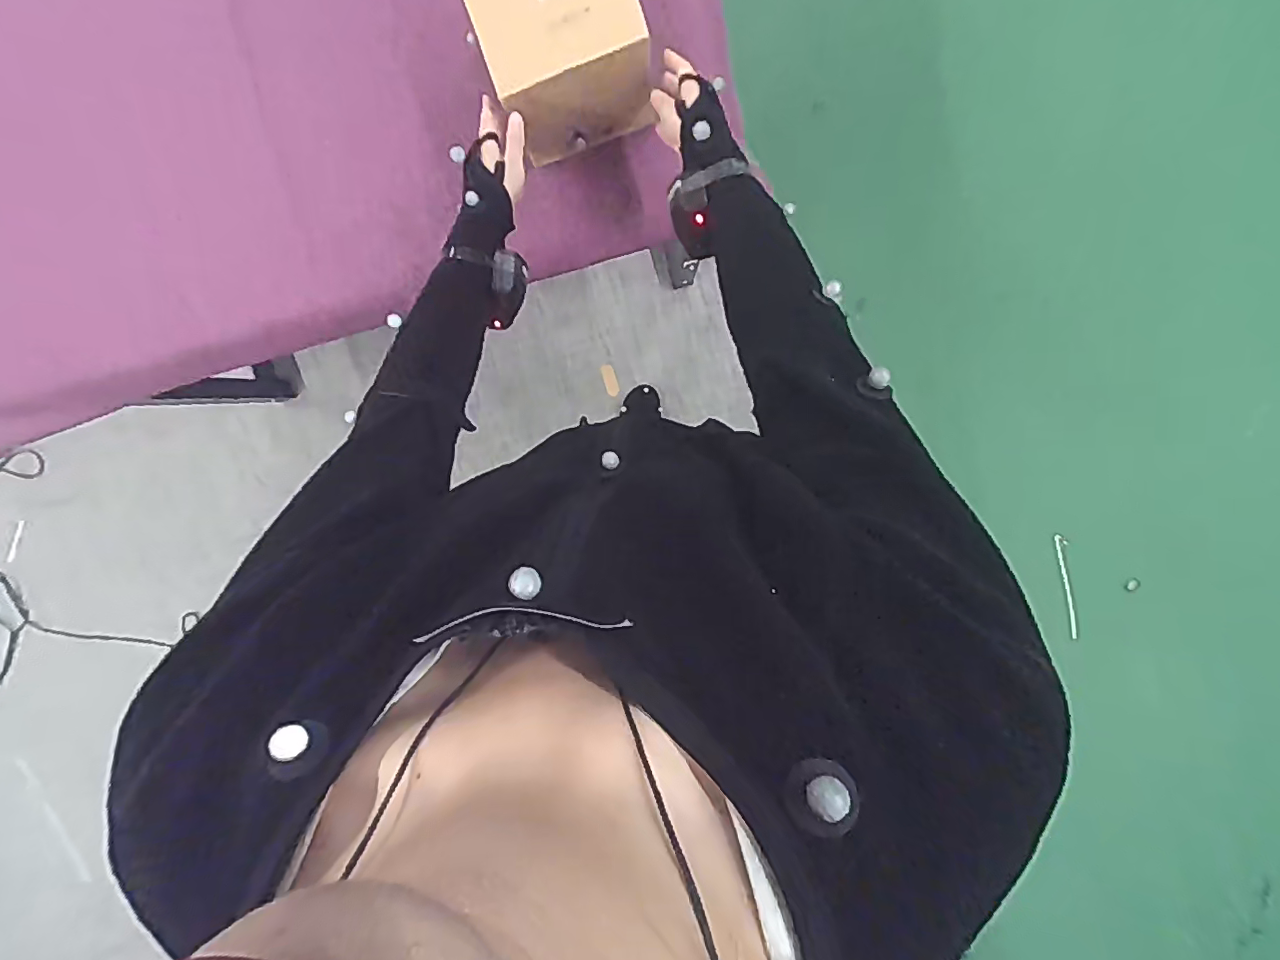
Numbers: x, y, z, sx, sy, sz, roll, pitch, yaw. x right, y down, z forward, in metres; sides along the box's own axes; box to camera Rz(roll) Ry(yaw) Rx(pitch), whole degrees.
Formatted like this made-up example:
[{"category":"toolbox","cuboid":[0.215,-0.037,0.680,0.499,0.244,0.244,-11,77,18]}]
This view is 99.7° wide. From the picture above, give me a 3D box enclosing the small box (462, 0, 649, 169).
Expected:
[{"category":"small box","cuboid":[-0.093,-0.497,0.611,0.168,0.176,0.179,-18,96,5]}]
